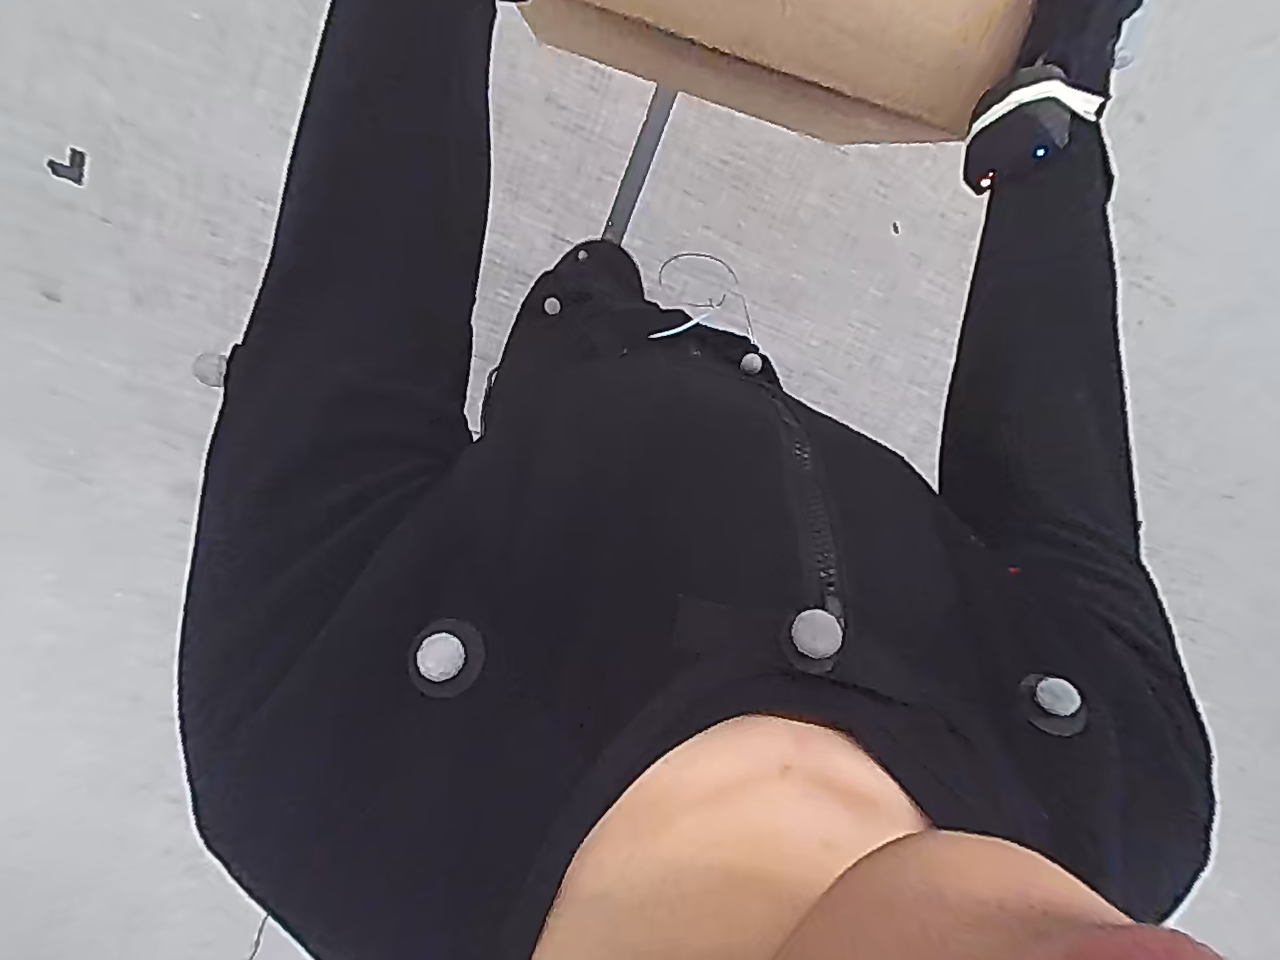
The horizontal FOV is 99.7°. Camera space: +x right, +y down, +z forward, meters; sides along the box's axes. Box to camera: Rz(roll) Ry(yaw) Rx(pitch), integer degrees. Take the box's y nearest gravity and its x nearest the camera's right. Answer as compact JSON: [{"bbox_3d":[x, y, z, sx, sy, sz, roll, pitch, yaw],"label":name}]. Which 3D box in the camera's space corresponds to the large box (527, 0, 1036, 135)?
[{"bbox_3d":[0.120,-0.537,0.473,0.408,0.320,0.320,12,121,-11],"label":"large box"}]
